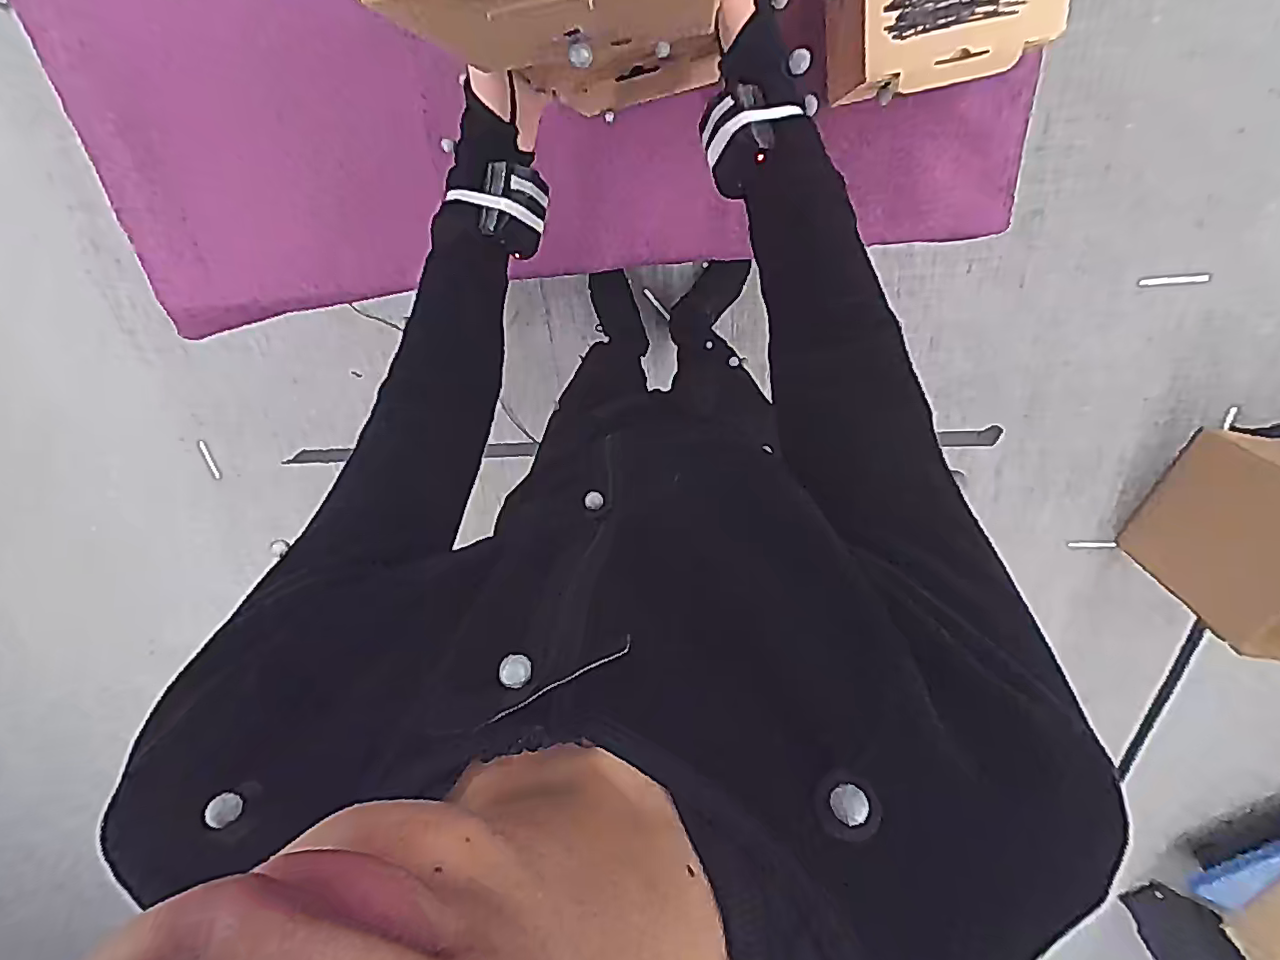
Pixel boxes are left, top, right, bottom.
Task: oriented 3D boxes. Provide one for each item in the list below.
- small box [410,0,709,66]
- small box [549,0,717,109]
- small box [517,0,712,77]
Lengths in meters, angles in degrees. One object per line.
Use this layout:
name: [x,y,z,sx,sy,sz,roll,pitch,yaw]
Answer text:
small box: [-0.051,-0.334,0.260,0.168,0.176,0.179,-4,118,8]
small box: [-0.014,-0.496,0.543,0.168,0.176,0.179,-8,116,10]
small box: [-0.038,-0.425,0.398,0.168,0.176,0.179,-8,116,10]
